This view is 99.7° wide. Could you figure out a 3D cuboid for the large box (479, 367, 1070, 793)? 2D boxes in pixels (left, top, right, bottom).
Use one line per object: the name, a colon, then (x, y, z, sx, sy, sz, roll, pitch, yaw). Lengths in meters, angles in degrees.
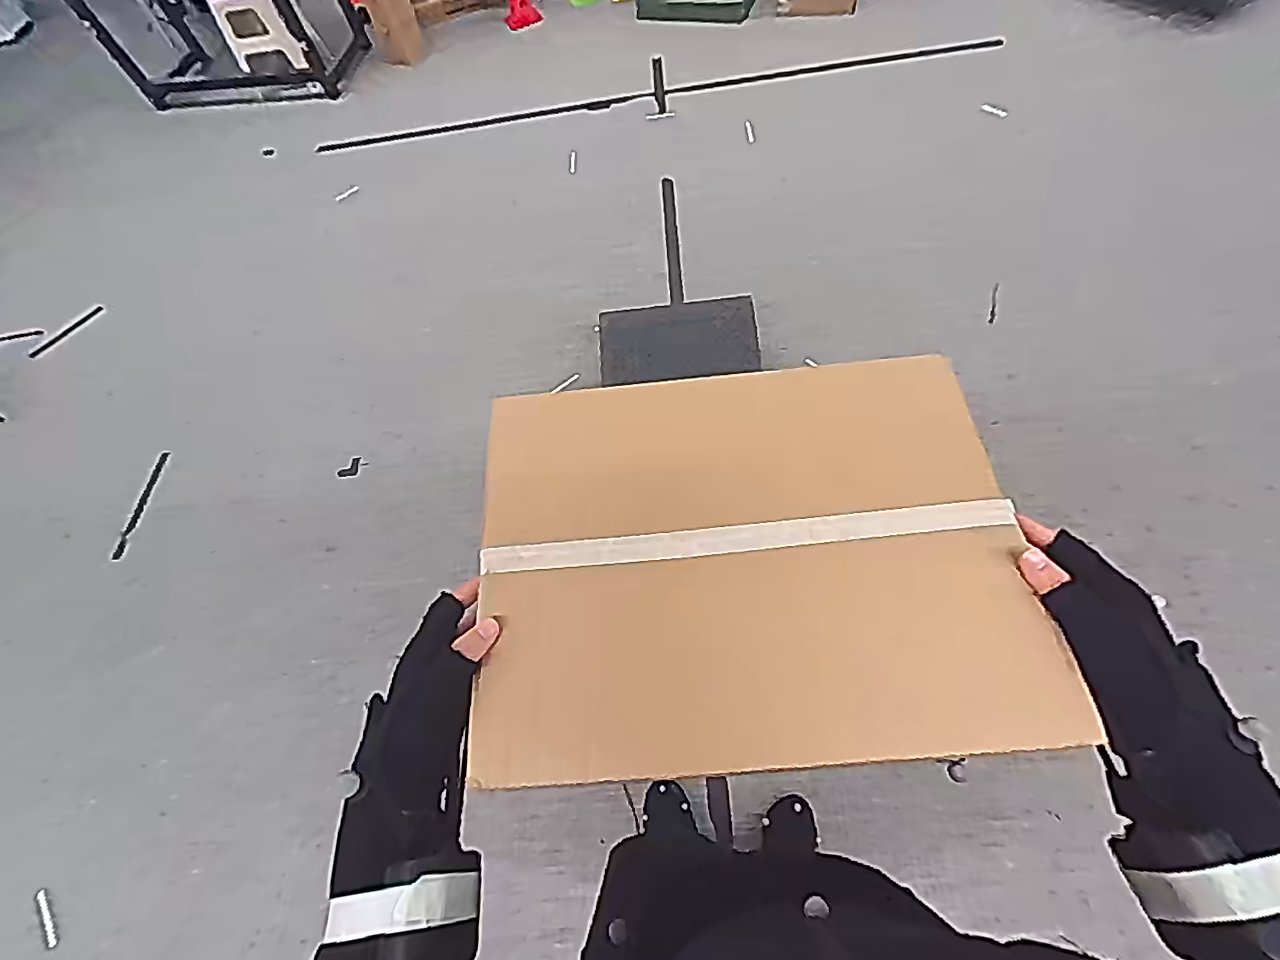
large box: (0.088, 0.119, 0.557, 0.408, 0.320, 0.320, -5, 62, 2)
